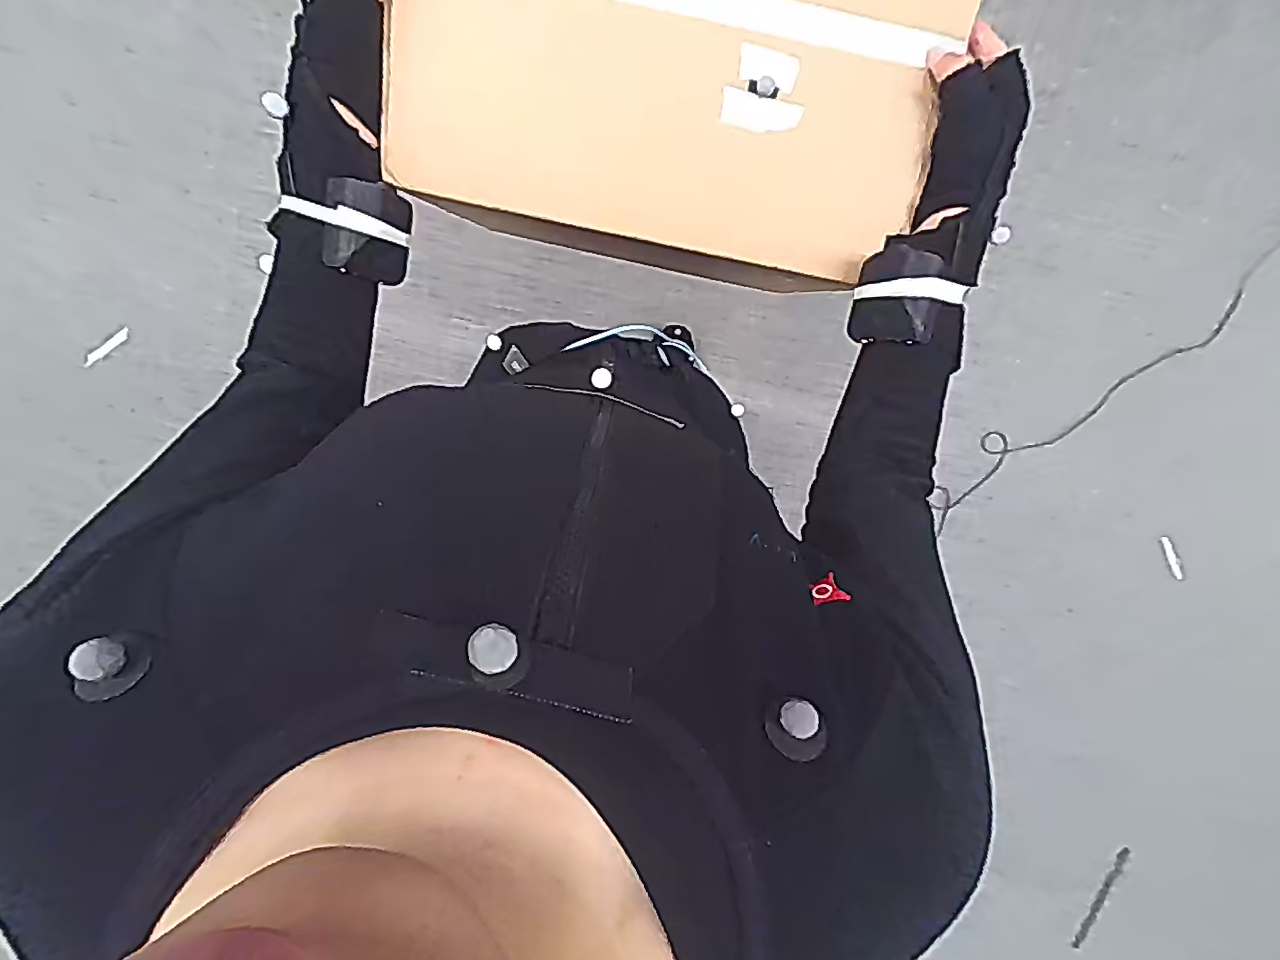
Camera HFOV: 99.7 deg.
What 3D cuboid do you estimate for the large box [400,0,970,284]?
[{"bbox_3d":[0.029,-0.388,0.525,0.408,0.320,0.320,10,109,-5],"label":"large box"}]
